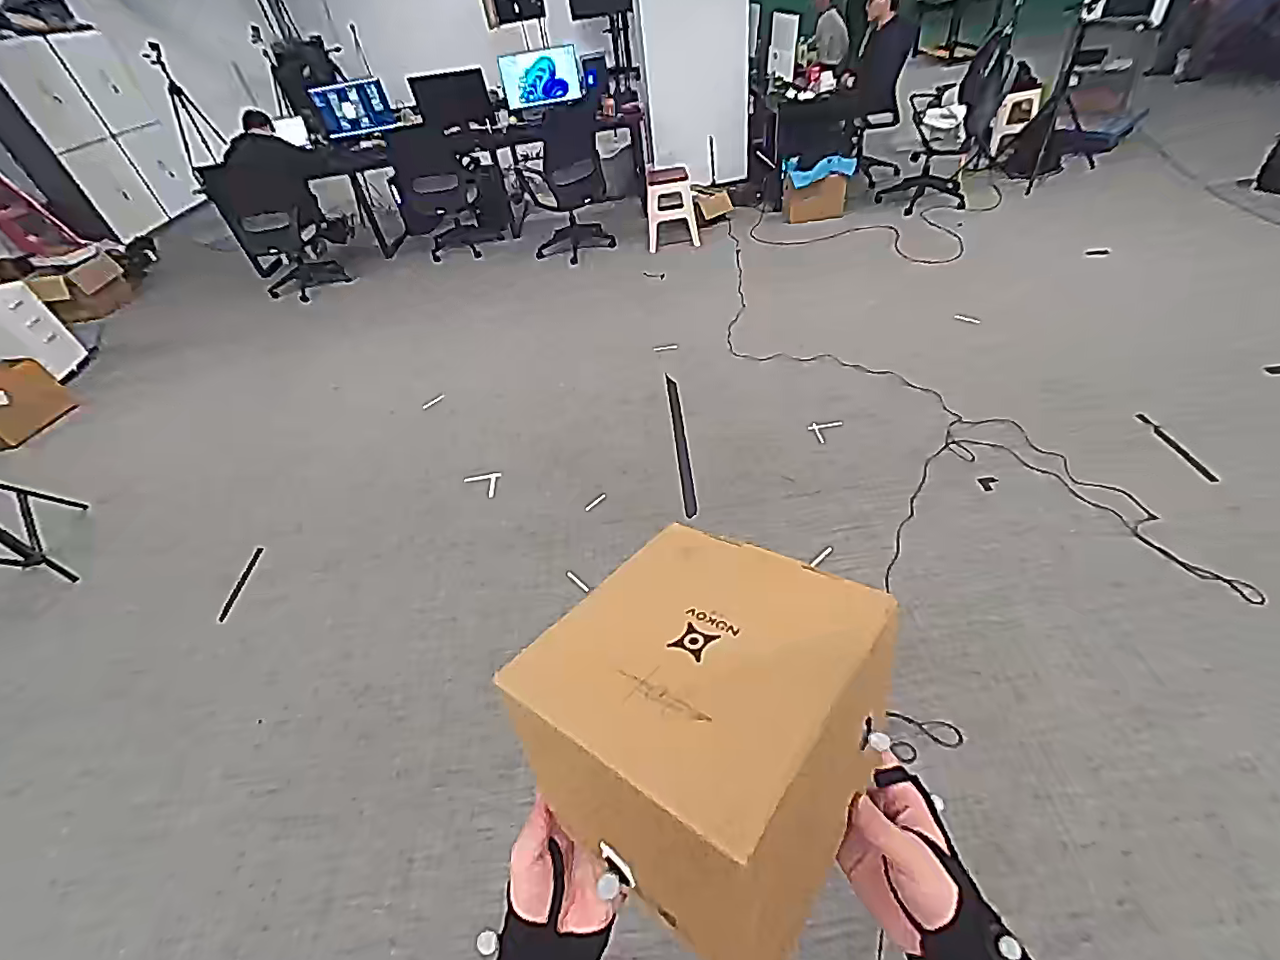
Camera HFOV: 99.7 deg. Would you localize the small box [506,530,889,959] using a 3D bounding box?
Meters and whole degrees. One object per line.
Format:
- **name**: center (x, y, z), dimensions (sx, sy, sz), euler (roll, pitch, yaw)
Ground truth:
- **small box**: center (0.047, 0.166, 0.360), dimensions (0.168, 0.176, 0.179), euler (15, 40, 37)
